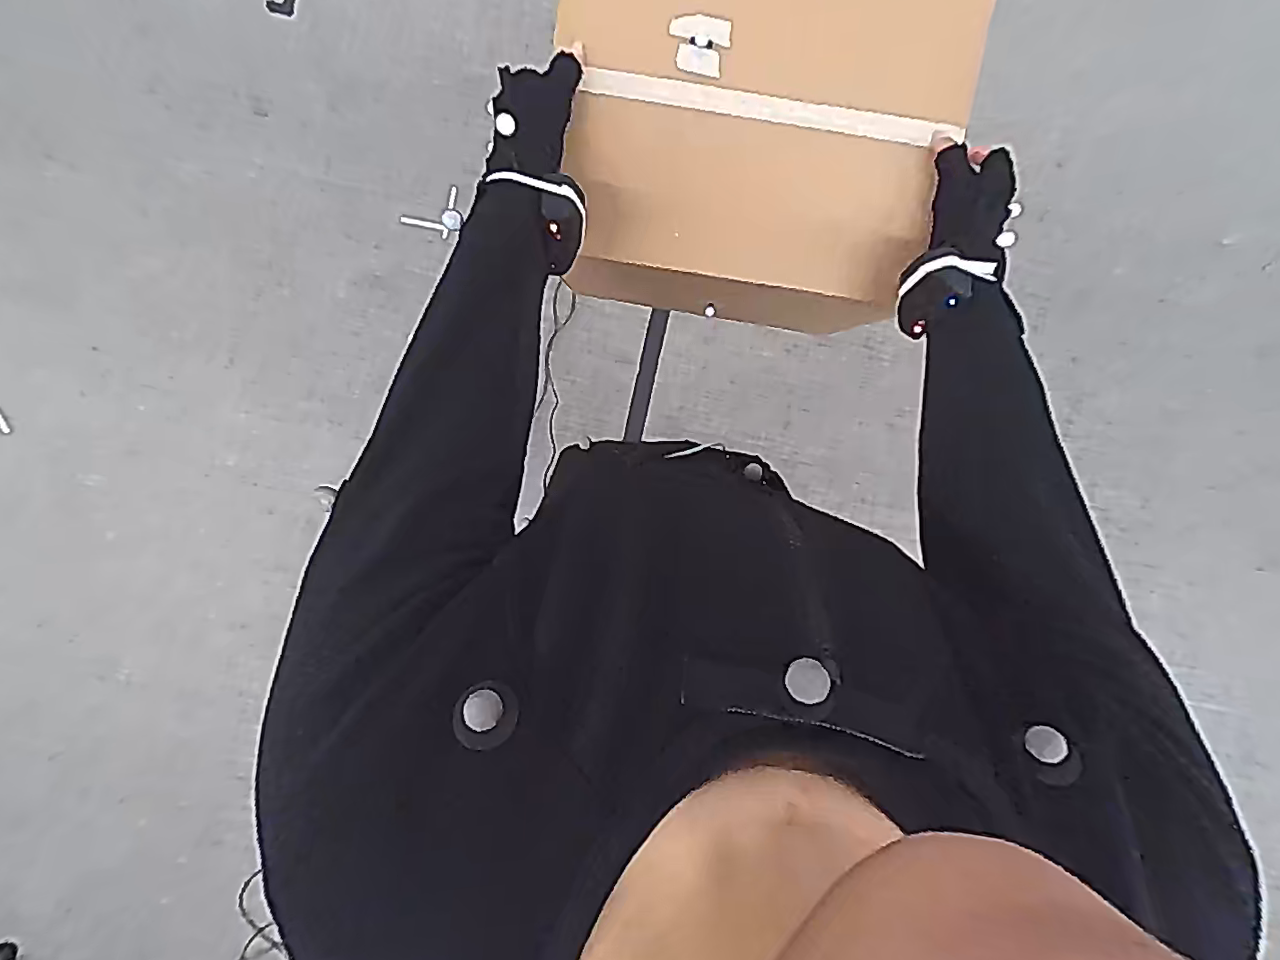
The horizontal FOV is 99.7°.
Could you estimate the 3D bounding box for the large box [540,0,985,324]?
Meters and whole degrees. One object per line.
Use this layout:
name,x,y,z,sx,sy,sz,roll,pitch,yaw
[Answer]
large box,0.118,-0.390,0.680,0.408,0.320,0.320,9,100,-1
